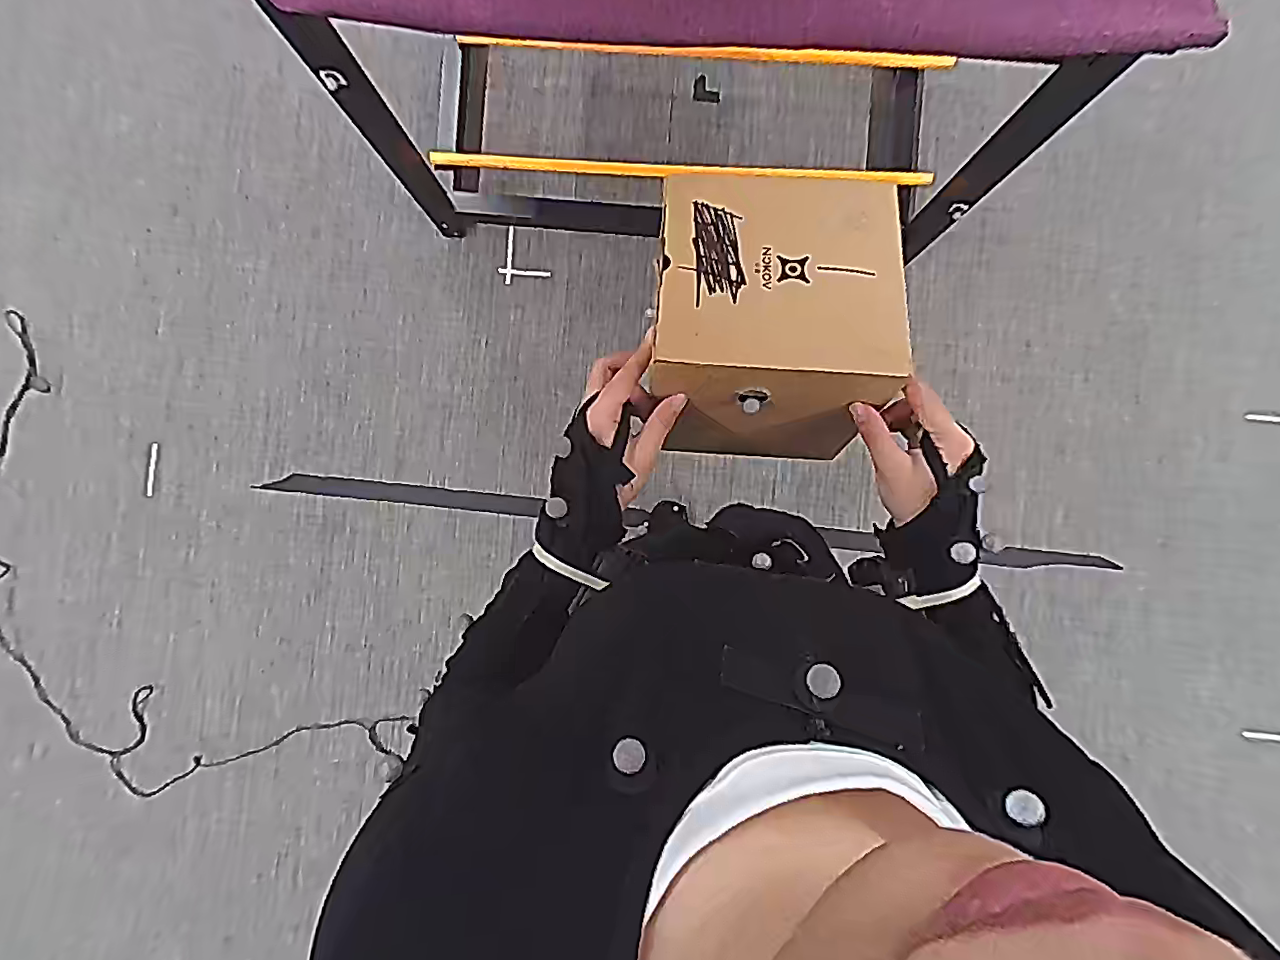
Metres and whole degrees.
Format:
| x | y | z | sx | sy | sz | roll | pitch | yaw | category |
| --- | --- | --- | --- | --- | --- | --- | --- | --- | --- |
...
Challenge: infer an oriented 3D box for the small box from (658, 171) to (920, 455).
| x | y | z | sx | sy | sz | roll | pitch | yaw | category |
| --- | --- | --- | --- | --- | --- | --- | --- | --- | --- |
| 0.107 | -0.127 | 0.460 | 0.179 | 0.176 | 0.168 | 4 | 73 | 2 | small box |
